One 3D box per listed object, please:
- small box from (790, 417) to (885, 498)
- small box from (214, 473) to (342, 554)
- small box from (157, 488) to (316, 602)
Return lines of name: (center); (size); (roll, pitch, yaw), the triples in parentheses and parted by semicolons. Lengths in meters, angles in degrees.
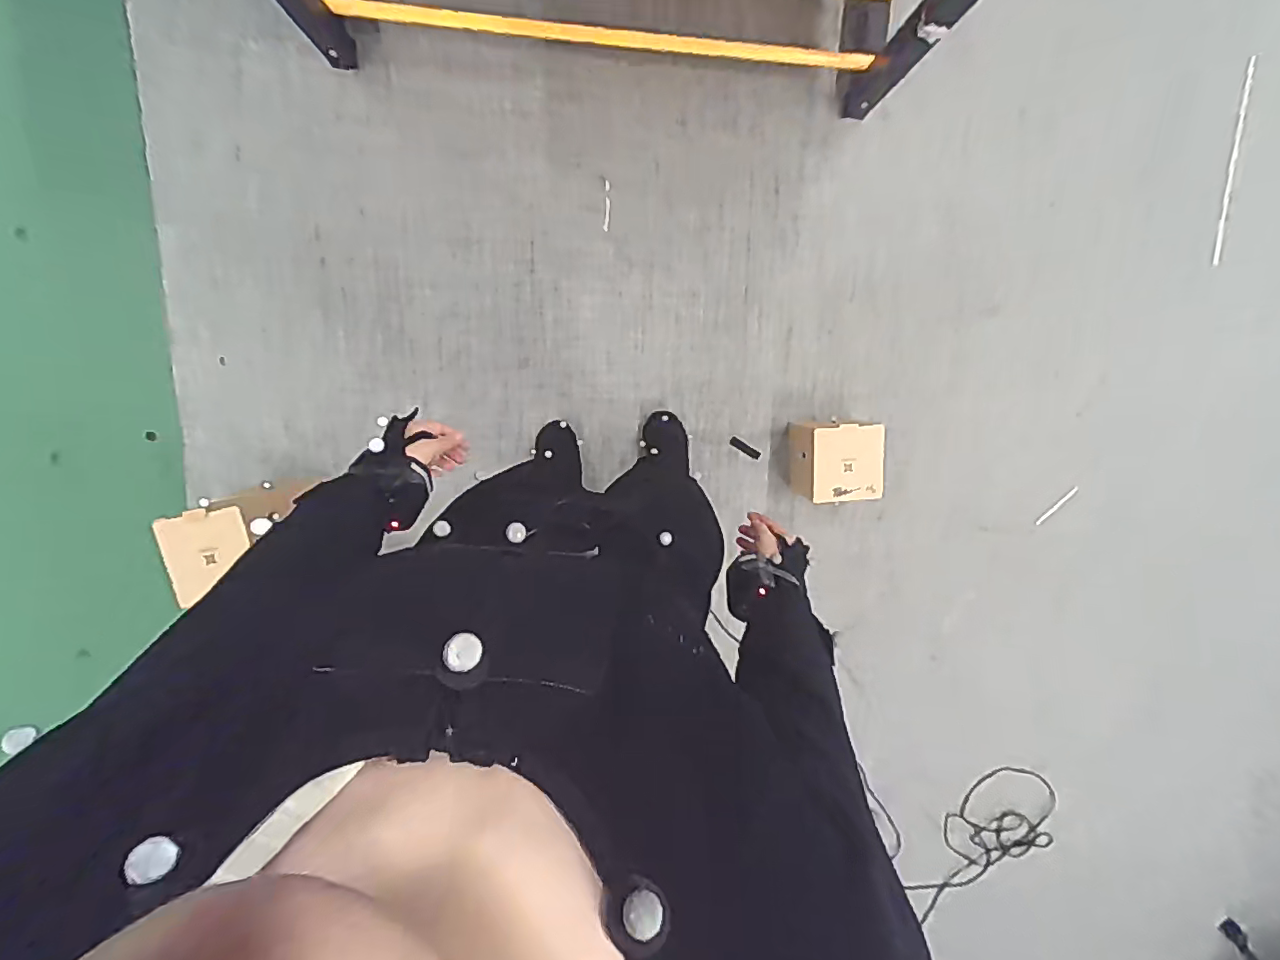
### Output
small box: (0.468, -0.062, 1.302); (0.168, 0.176, 0.179); (-4, 100, -3)
small box: (-0.815, 0.085, 1.244); (0.179, 0.176, 0.168); (-8, 101, -1)
small box: (-0.796, 0.120, 1.087); (0.168, 0.176, 0.179); (-11, 102, 0)
